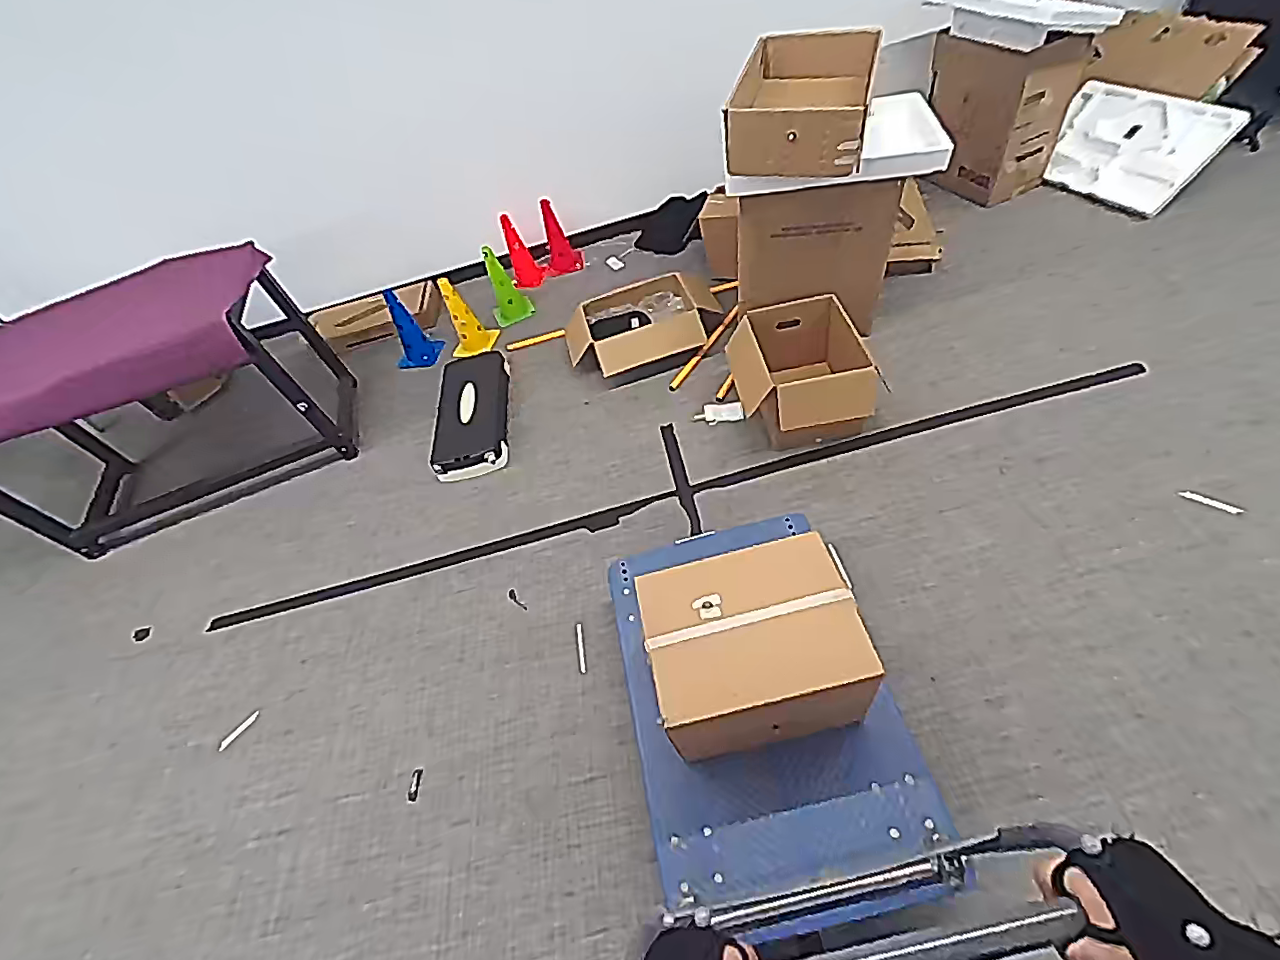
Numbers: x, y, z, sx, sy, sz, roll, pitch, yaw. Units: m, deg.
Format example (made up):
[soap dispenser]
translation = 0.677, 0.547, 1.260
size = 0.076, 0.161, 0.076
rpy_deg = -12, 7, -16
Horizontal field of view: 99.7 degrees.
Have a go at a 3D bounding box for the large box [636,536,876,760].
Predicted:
[large box]
translation = 0.241, 0.377, 1.186
size = 0.408, 0.320, 0.320
rpy_deg = -16, 49, 3
